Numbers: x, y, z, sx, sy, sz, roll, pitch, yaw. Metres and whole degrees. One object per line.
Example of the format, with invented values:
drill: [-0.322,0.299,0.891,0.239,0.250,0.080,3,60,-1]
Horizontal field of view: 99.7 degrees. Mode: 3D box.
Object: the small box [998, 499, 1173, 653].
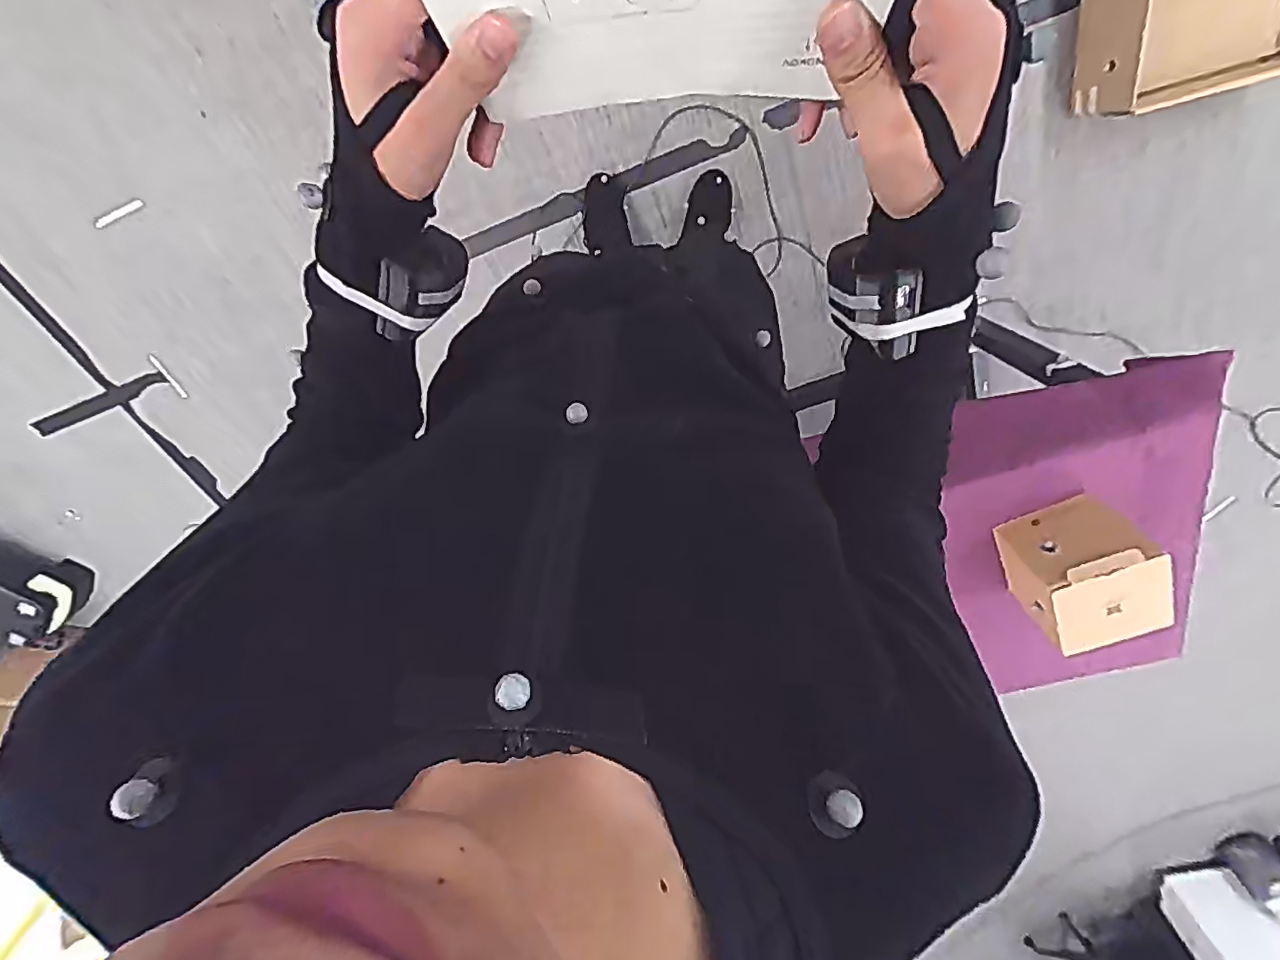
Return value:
small box: [0.747,0.155,0.921,0.168,0.176,0.179,-25,118,16]
